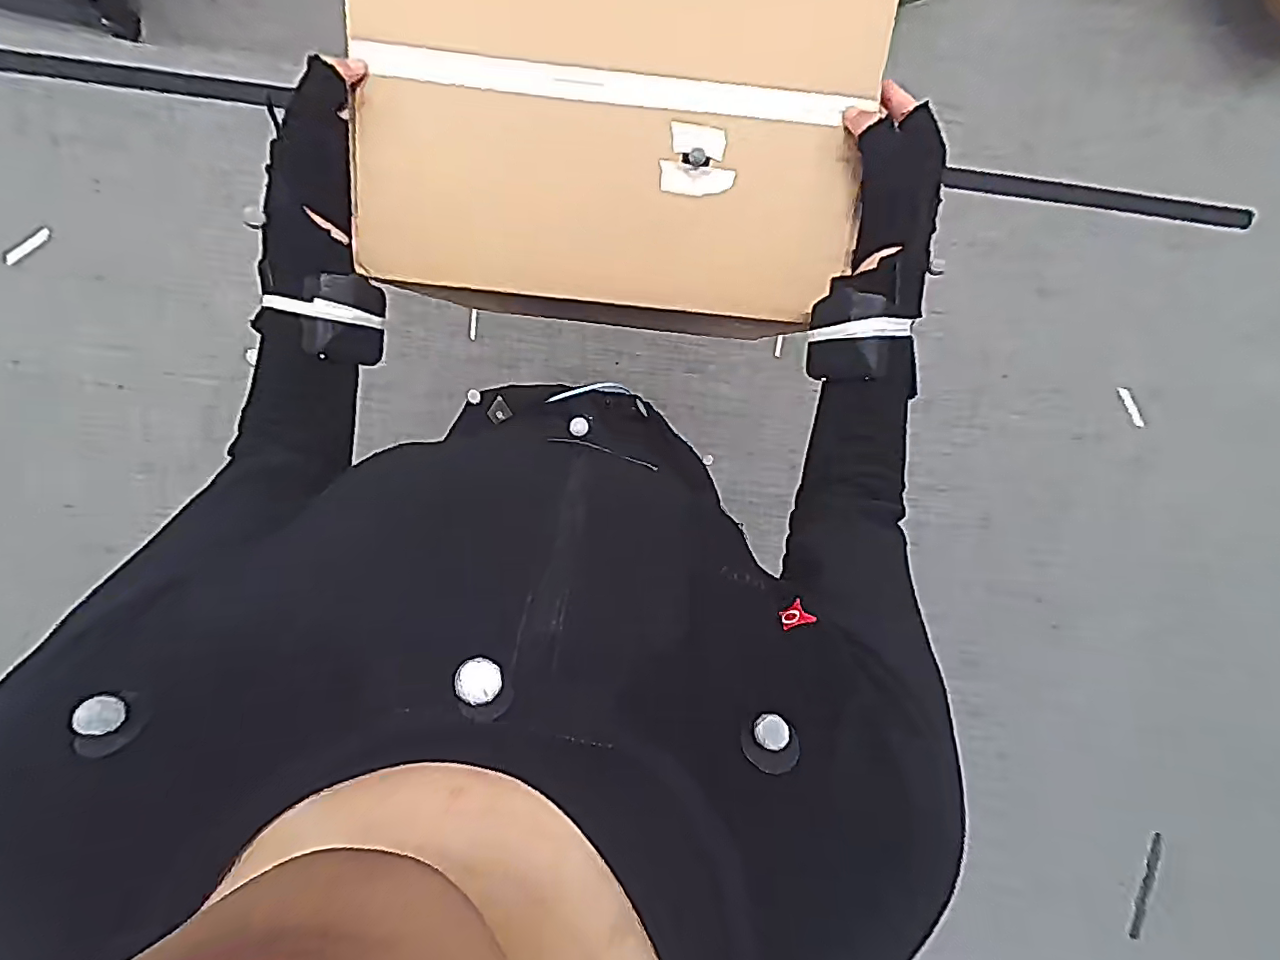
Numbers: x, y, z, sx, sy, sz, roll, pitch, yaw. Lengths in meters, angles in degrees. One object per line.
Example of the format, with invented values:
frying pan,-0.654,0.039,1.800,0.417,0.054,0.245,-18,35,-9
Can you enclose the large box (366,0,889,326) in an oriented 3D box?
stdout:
large box,-0.019,-0.343,0.568,0.408,0.320,0.320,5,104,-3
